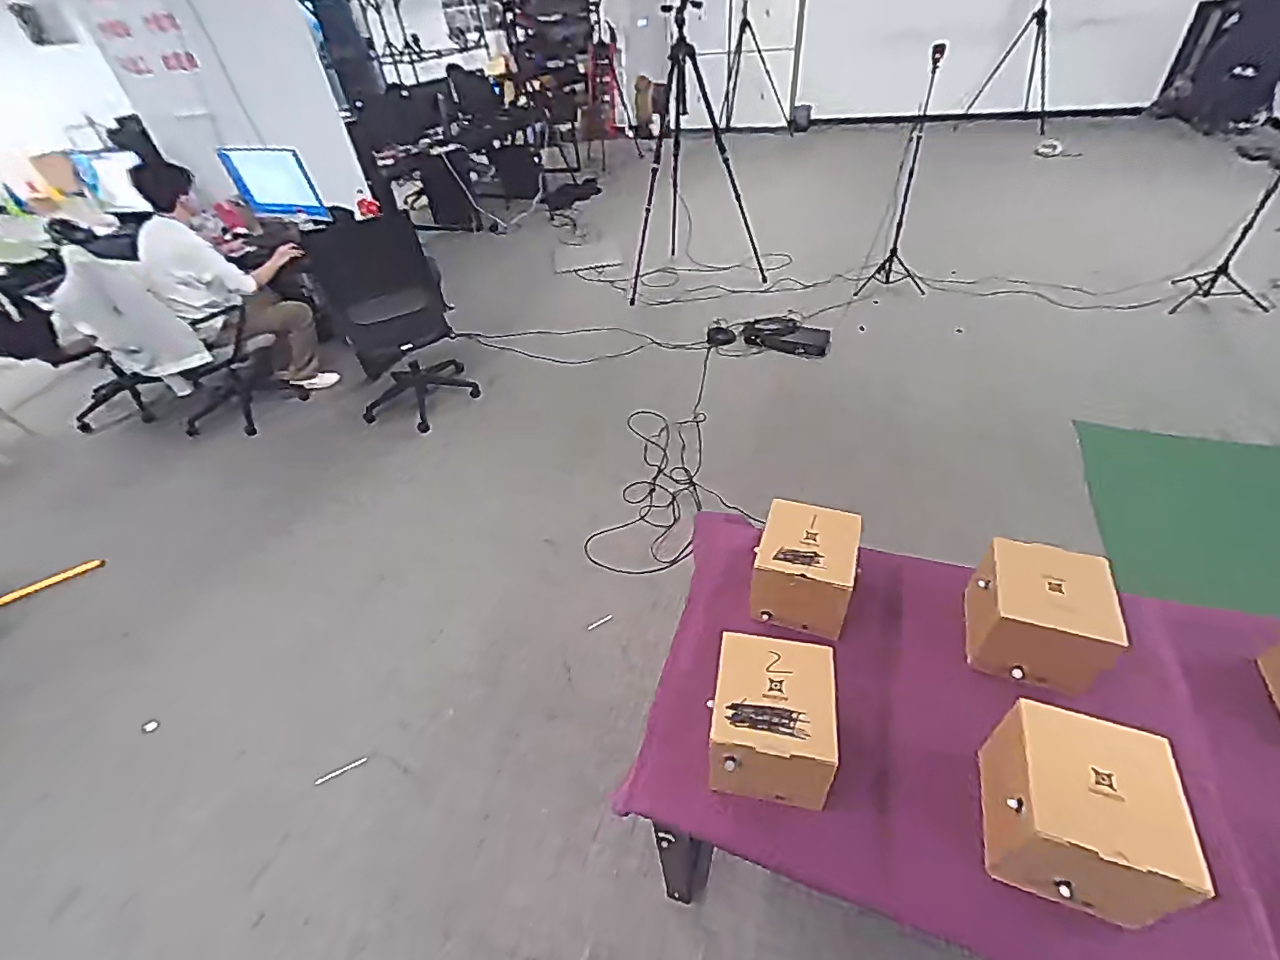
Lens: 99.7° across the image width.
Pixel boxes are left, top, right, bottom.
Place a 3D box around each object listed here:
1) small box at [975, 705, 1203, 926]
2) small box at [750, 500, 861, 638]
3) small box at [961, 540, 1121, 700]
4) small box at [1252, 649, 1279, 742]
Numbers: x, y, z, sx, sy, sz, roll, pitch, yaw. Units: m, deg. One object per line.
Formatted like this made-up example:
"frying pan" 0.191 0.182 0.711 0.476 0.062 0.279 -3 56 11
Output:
"small box" 0.564 0.440 0.713 0.168 0.176 0.179 13 45 18
"small box" 0.308 0.169 1.023 0.168 0.176 0.179 13 46 17
"small box" 0.665 0.238 0.922 0.168 0.176 0.179 13 47 19
"small box" 1.068 0.329 0.783 0.168 0.176 0.179 12 45 18
